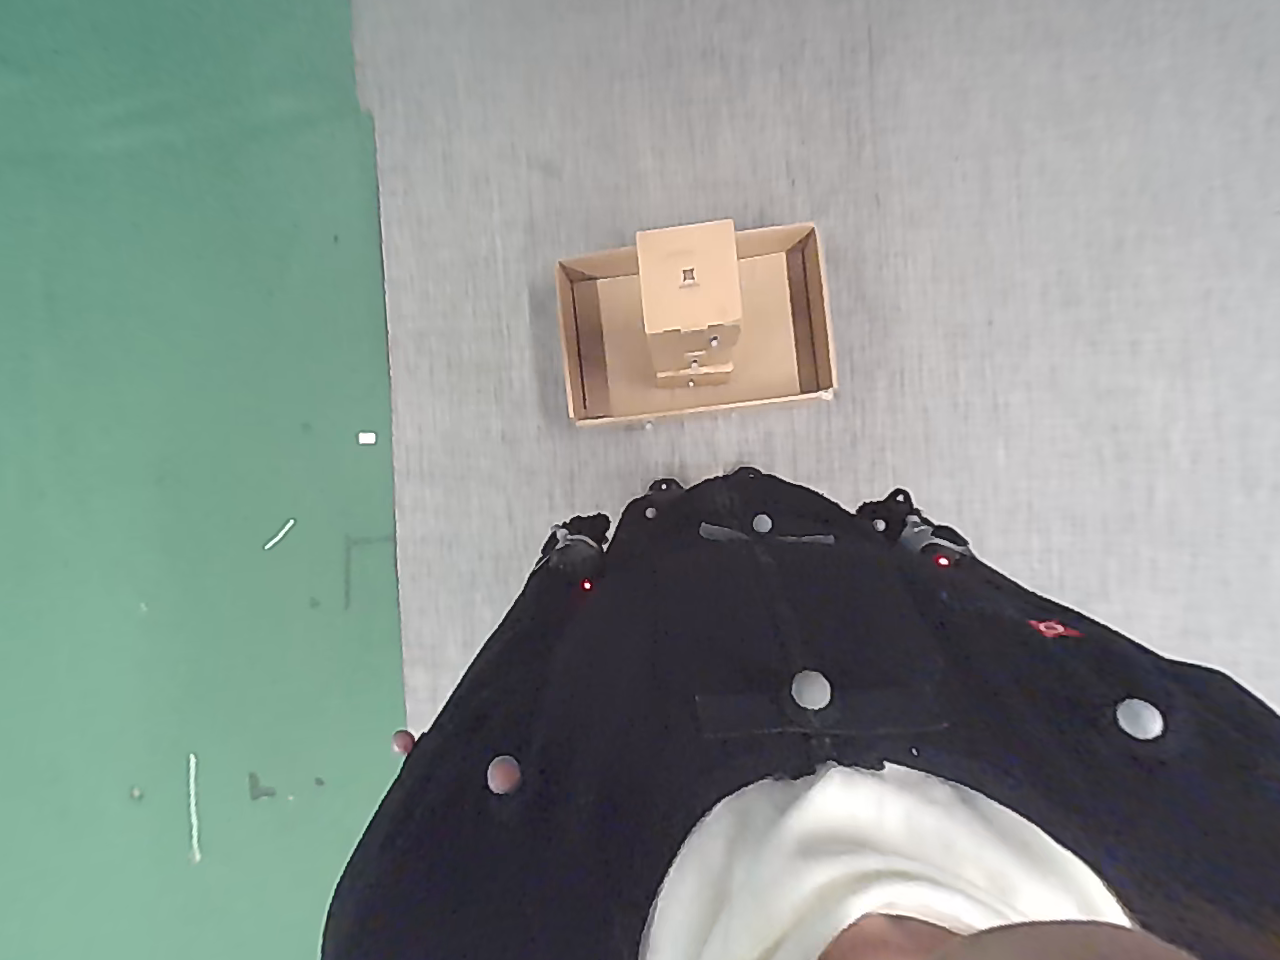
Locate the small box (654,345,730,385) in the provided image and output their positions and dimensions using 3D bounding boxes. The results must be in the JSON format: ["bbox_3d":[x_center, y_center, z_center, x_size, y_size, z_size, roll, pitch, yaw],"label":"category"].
[{"bbox_3d":[0.125,-0.331,1.324,0.179,0.176,0.168,-3,89,6],"label":"small box"}]

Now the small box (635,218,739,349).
[{"bbox_3d":[0.085,-0.344,0.985,0.168,0.176,0.179,-5,89,4],"label":"small box"}]

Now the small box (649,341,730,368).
[{"bbox_3d":[0.102,-0.346,1.166,0.168,0.176,0.179,-8,89,6],"label":"small box"}]
